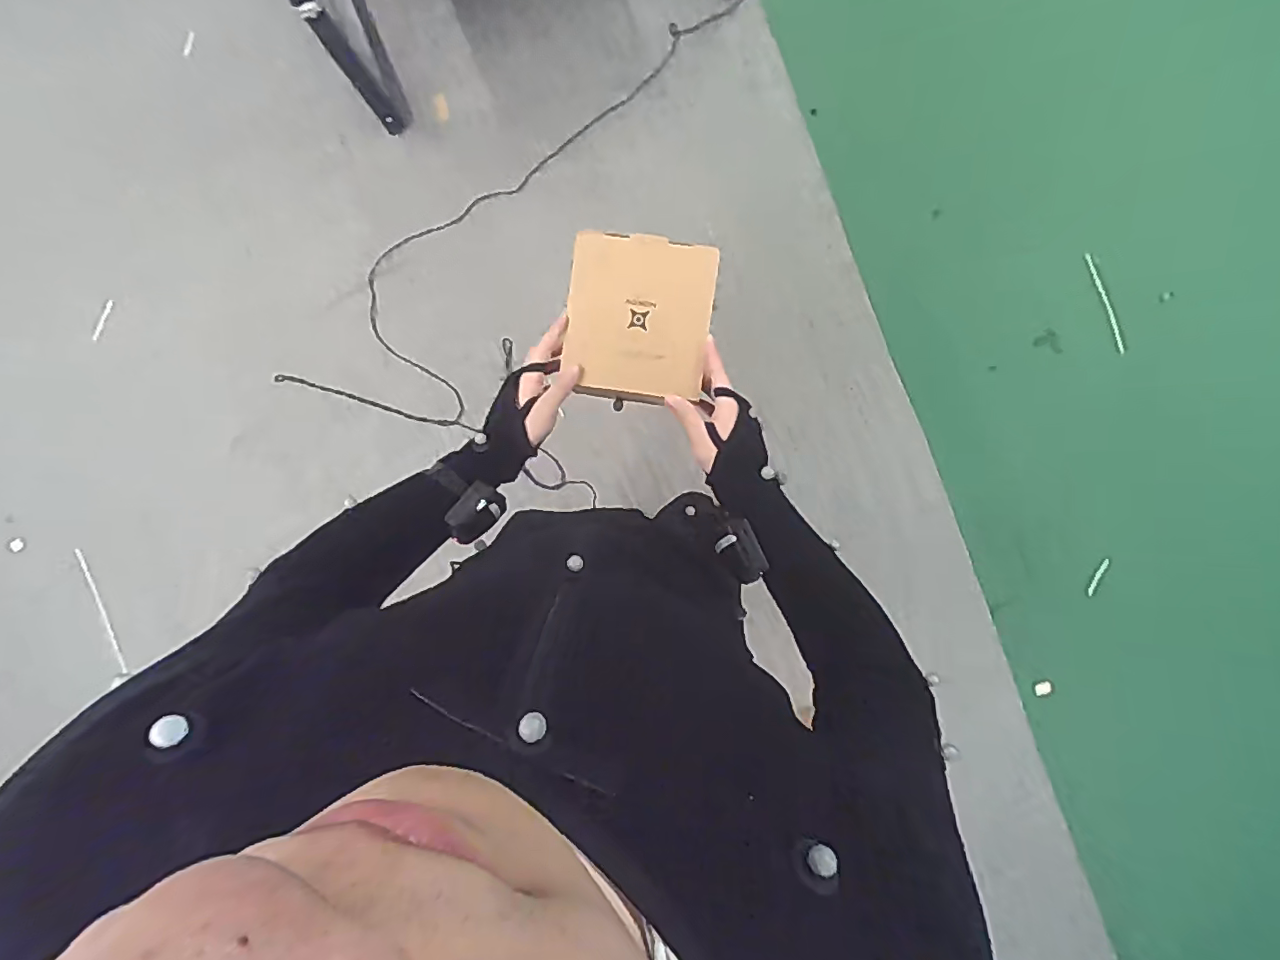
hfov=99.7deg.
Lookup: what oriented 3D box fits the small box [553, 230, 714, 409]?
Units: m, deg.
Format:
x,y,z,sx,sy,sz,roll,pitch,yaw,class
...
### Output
x,y,z,sx,sy,sz,roll,pitch,yaw,class
-0.008,-0.192,0.695,0.168,0.176,0.179,8,95,1,small box
